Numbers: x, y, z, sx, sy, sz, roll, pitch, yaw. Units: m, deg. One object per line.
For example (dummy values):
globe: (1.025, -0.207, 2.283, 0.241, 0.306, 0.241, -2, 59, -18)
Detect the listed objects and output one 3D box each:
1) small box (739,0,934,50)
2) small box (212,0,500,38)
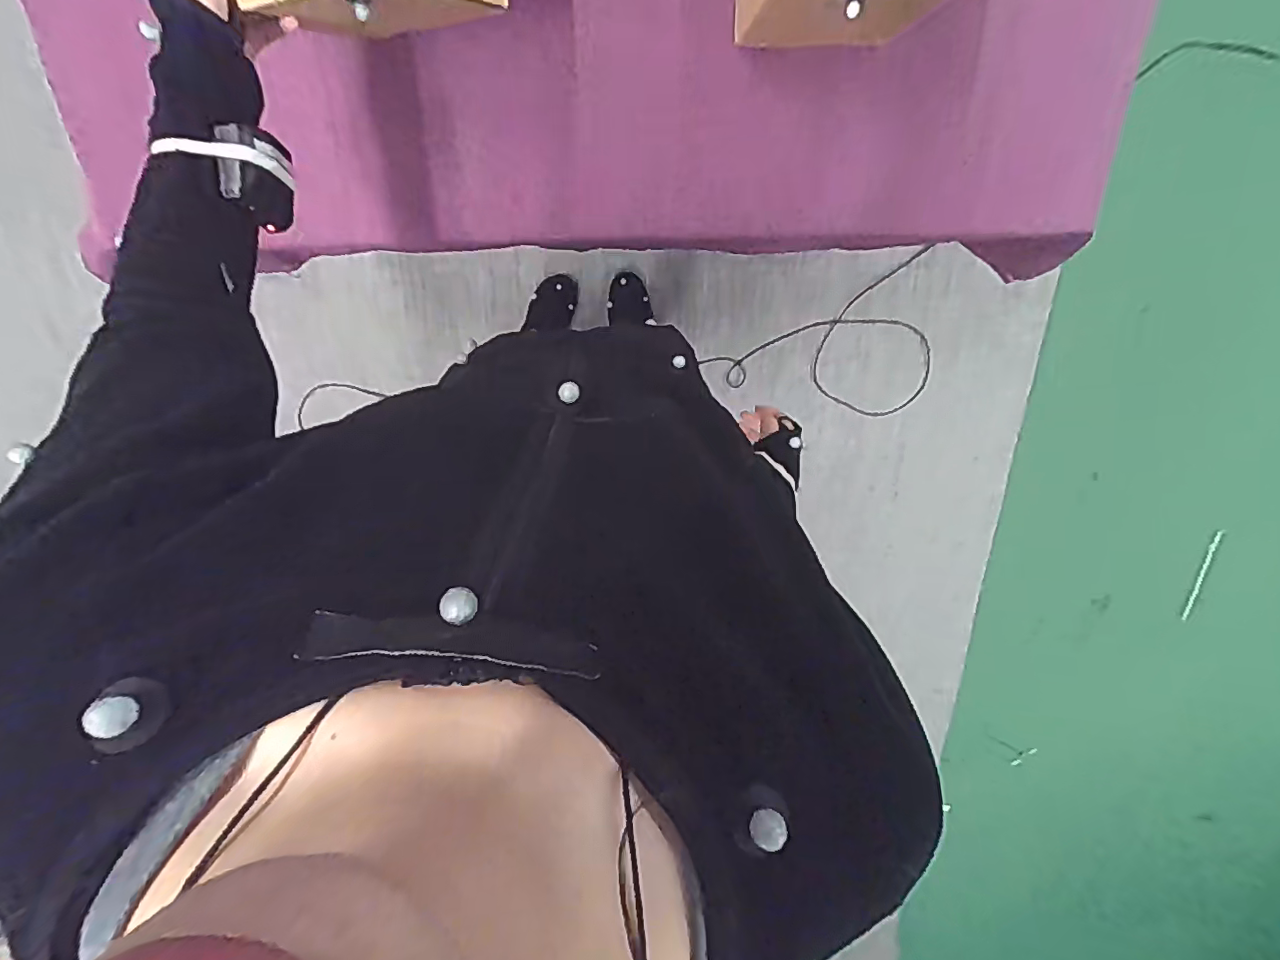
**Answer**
small box: (0.196, -0.529, 0.503, 0.179, 0.176, 0.168, -2, 112, -4)
small box: (-0.233, -0.469, 0.423, 0.179, 0.176, 0.168, 10, 125, 22)
